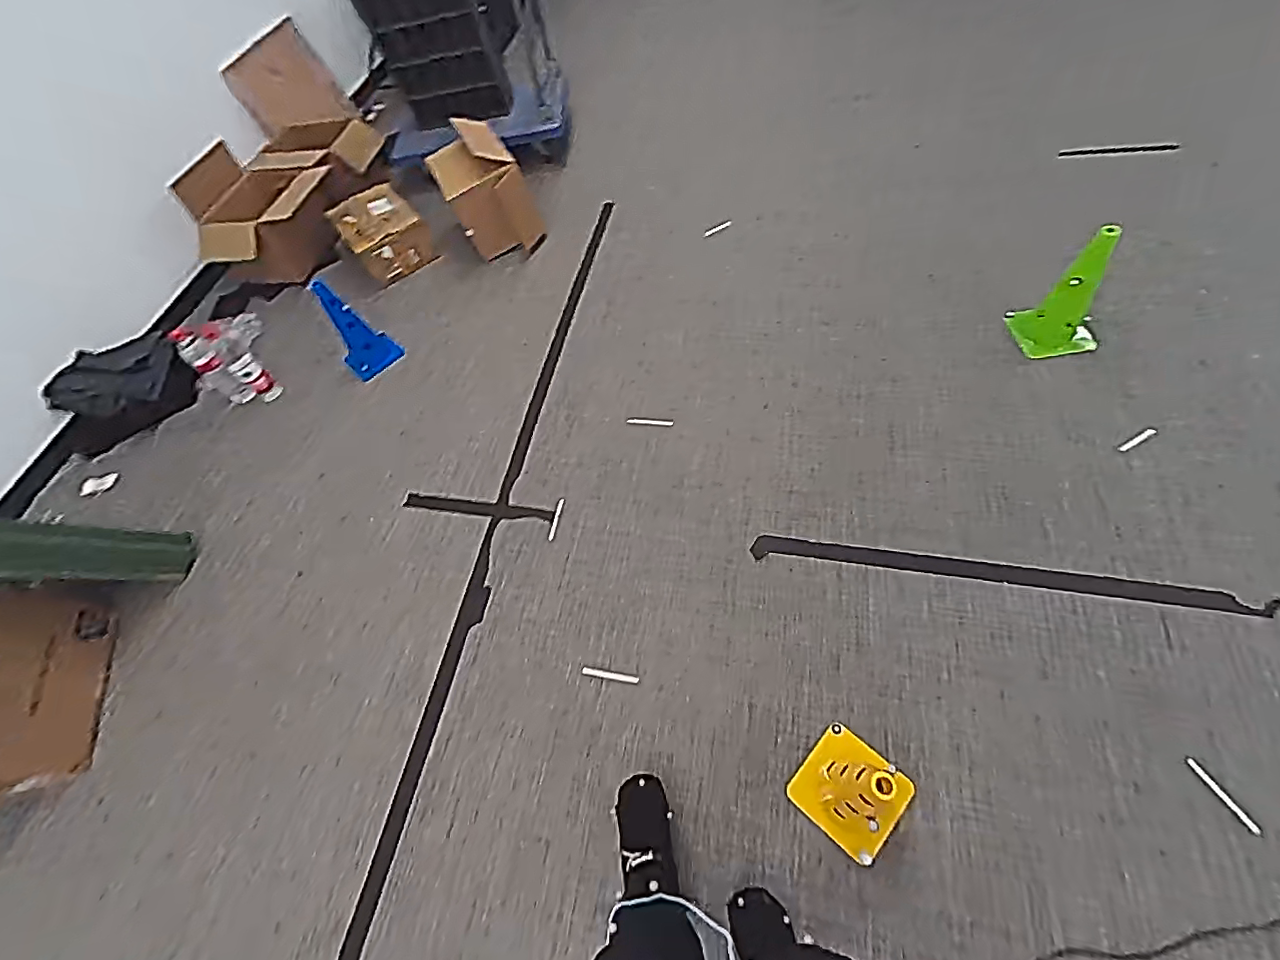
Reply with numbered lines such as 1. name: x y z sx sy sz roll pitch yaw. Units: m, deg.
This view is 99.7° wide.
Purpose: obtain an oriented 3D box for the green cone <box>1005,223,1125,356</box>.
1. green cone: 1.254 -0.557 1.547 0.202 0.368 0.200 -8 58 5
